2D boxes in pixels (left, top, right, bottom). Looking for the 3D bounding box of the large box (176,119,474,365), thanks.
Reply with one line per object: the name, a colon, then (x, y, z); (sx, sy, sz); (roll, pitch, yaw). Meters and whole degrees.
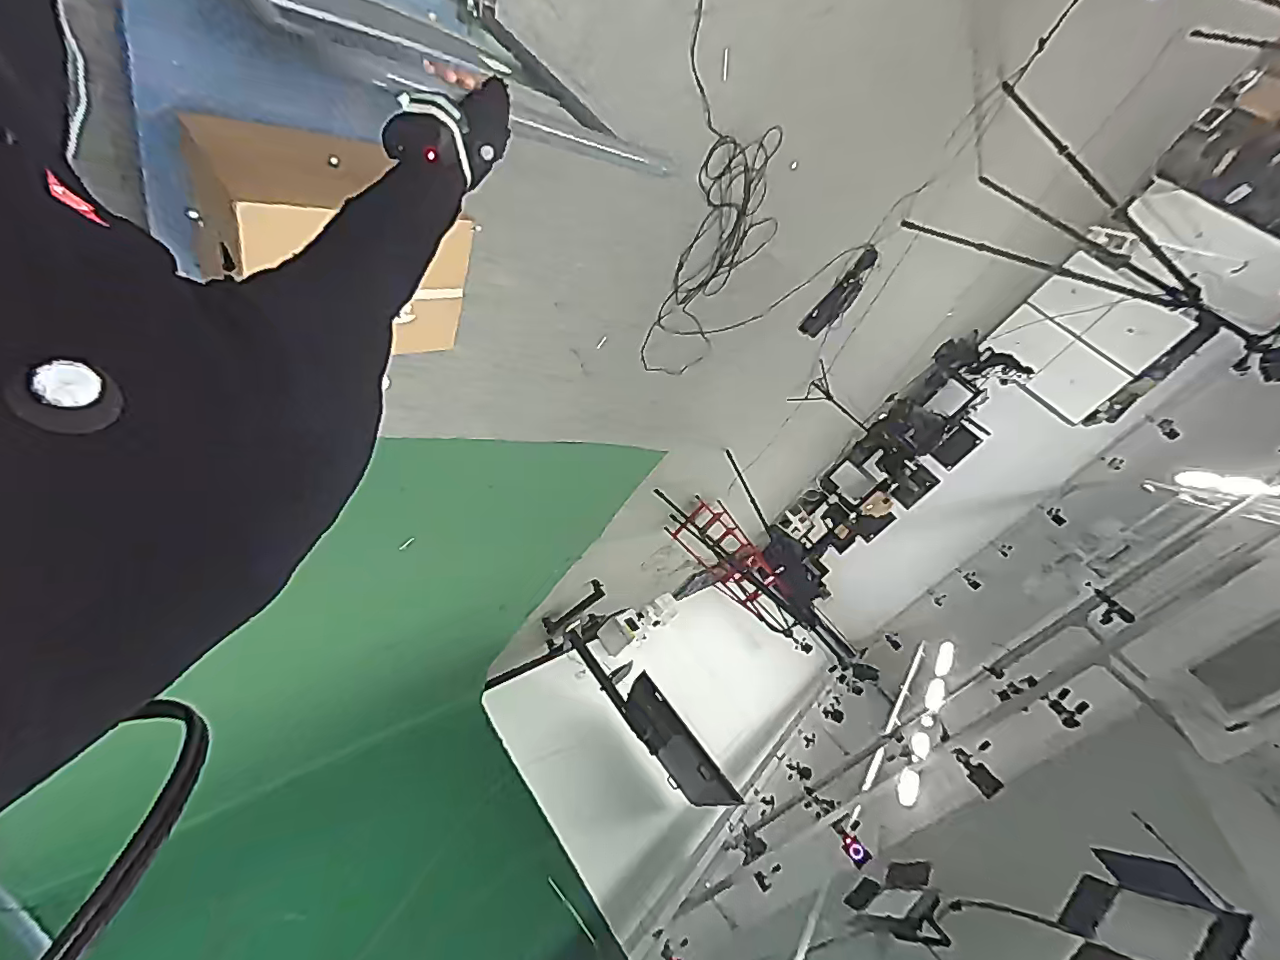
large box: (-0.612, -0.473, 1.091); (0.408, 0.320, 0.320); (-22, 152, -42)
